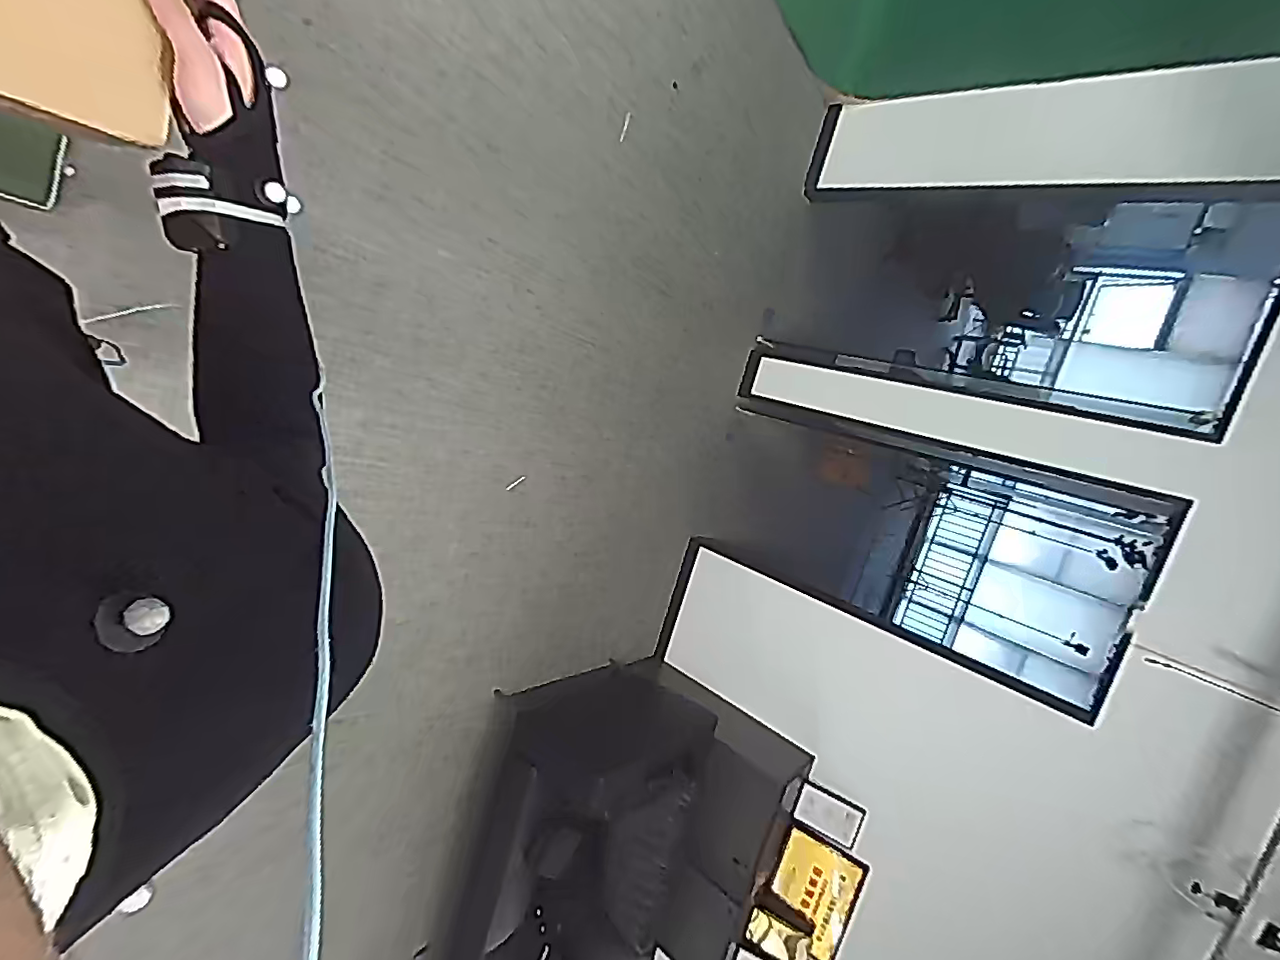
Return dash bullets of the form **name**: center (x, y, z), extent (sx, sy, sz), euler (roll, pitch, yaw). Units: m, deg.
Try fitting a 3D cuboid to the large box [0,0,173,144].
- **large box**: center (-0.571, -0.452, 0.319), extent (0.408, 0.320, 0.320), euler (-2, 114, -53)
